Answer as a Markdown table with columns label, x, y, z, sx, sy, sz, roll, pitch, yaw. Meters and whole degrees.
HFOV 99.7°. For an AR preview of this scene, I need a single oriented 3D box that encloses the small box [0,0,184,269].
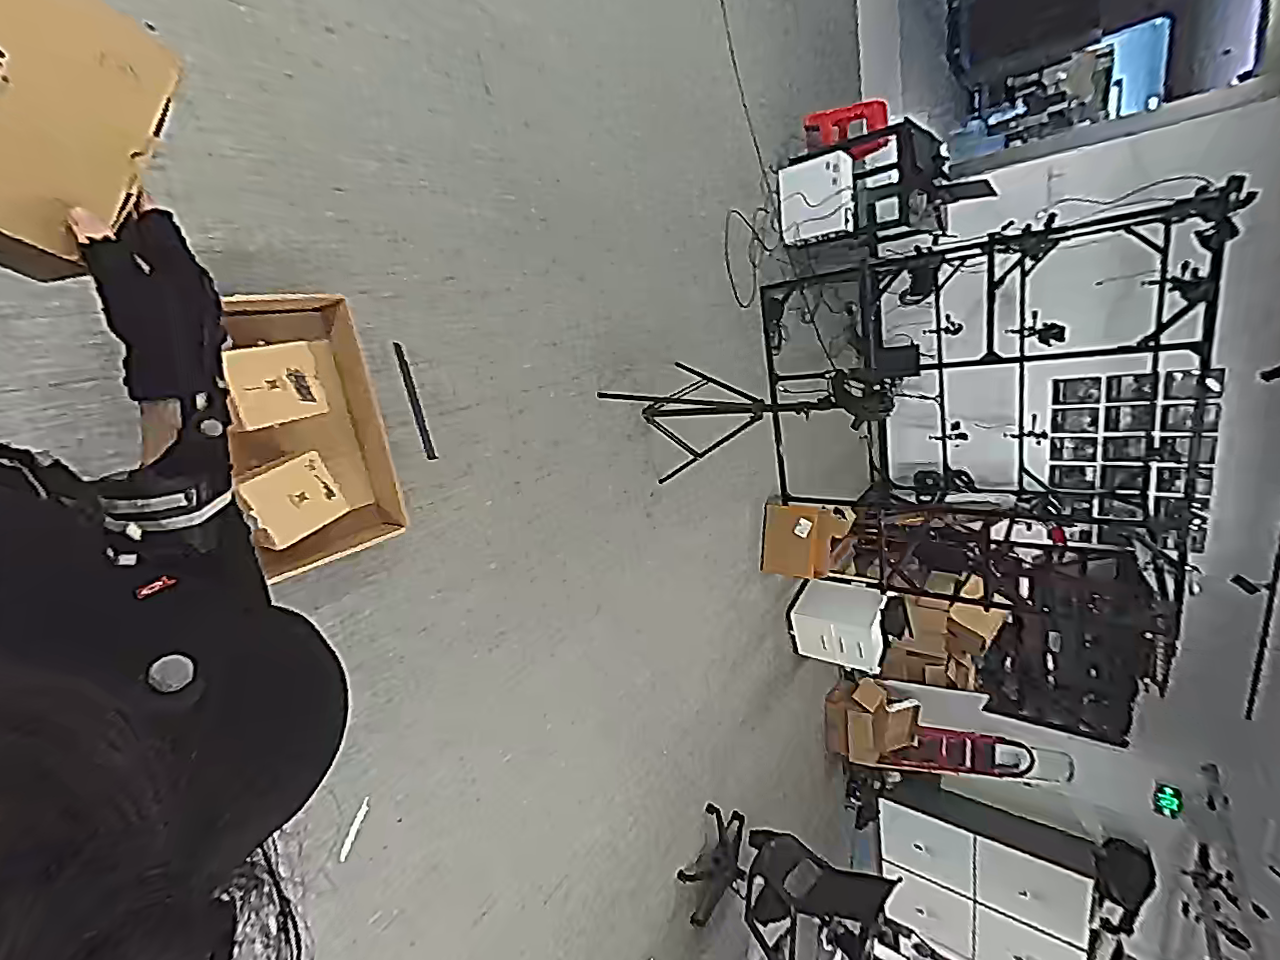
| label | x | y | z | sx | sy | sz | roll | pitch | yaw |
| --- | --- | --- | --- | --- | --- | --- | --- | --- | --- |
| small box | -0.441 | -0.248 | 0.331 | 0.179 | 0.176 | 0.168 | 25 | 77 | -56 |

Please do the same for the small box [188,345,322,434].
| label | x | y | z | sx | sy | sz | roll | pitch | yaw |
| --- | --- | --- | --- | --- | --- | --- | --- | --- | --- |
| small box | -0.861 | -0.205 | 1.212 | 0.179 | 0.176 | 0.168 | -29 | 115 | -48 |
